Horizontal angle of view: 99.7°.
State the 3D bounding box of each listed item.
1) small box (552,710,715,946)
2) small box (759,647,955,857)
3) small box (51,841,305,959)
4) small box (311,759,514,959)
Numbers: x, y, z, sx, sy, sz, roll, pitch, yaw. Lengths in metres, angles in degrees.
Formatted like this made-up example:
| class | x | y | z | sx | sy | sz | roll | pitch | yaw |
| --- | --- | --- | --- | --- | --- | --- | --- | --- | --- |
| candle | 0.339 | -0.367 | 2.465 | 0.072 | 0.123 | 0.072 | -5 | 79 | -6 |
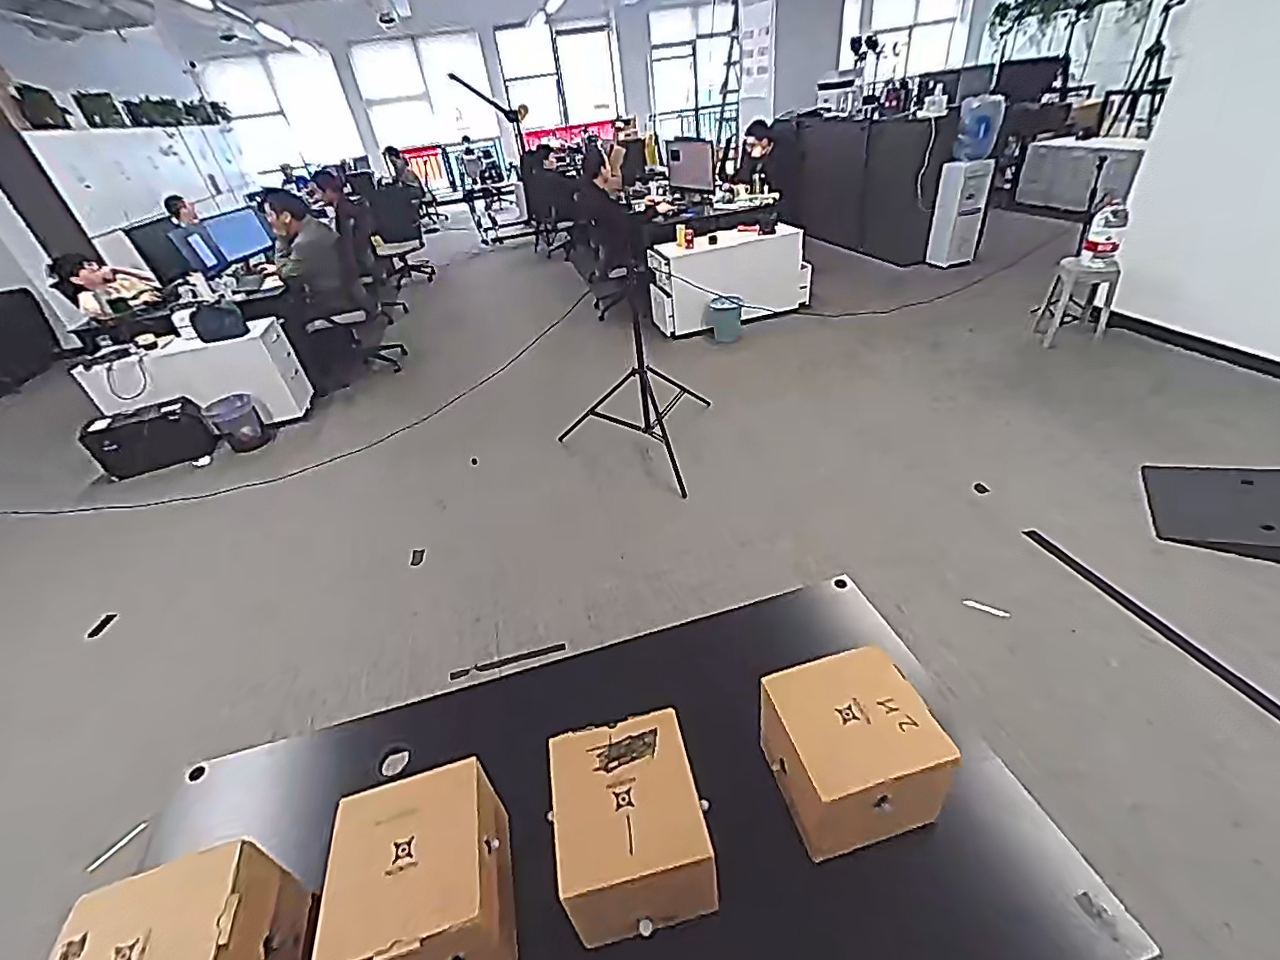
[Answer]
| class | x | y | z | sx | sy | sz | roll | pitch | yaw |
| --- | --- | --- | --- | --- | --- | --- | --- | --- | --- |
| small box | -0.011 | 0.425 | 0.669 | 0.168 | 0.176 | 0.179 | -12 | 36 | -6 |
| small box | 0.269 | 0.357 | 0.712 | 0.179 | 0.176 | 0.168 | -13 | 36 | -7 |
| small box | -0.502 | 0.544 | 0.592 | 0.179 | 0.176 | 0.168 | -14 | 35 | -12 |
| small box | -0.253 | 0.479 | 0.641 | 0.168 | 0.176 | 0.179 | -14 | 35 | -10 |
